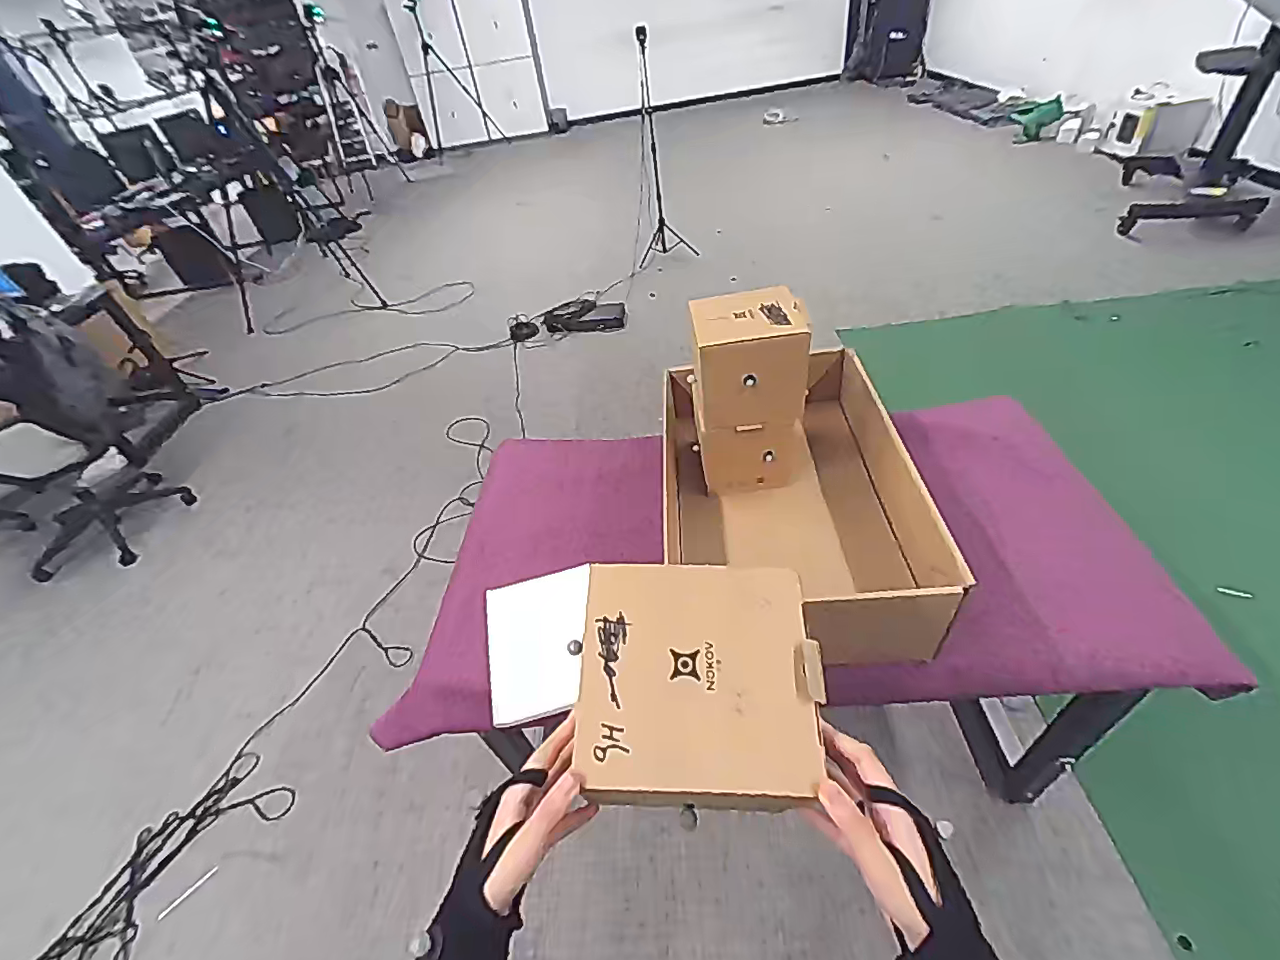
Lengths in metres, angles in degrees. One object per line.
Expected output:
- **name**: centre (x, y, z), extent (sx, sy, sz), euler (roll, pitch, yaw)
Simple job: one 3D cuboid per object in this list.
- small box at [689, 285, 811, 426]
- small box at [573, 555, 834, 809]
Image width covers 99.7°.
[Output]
- **small box**: centre (0.184, -0.214, 0.942), extent (0.179, 0.176, 0.168), euler (-7, 43, 4)
- **small box**: centre (0.044, 0.179, 0.466), extent (0.179, 0.176, 0.168), euler (3, 55, 1)
